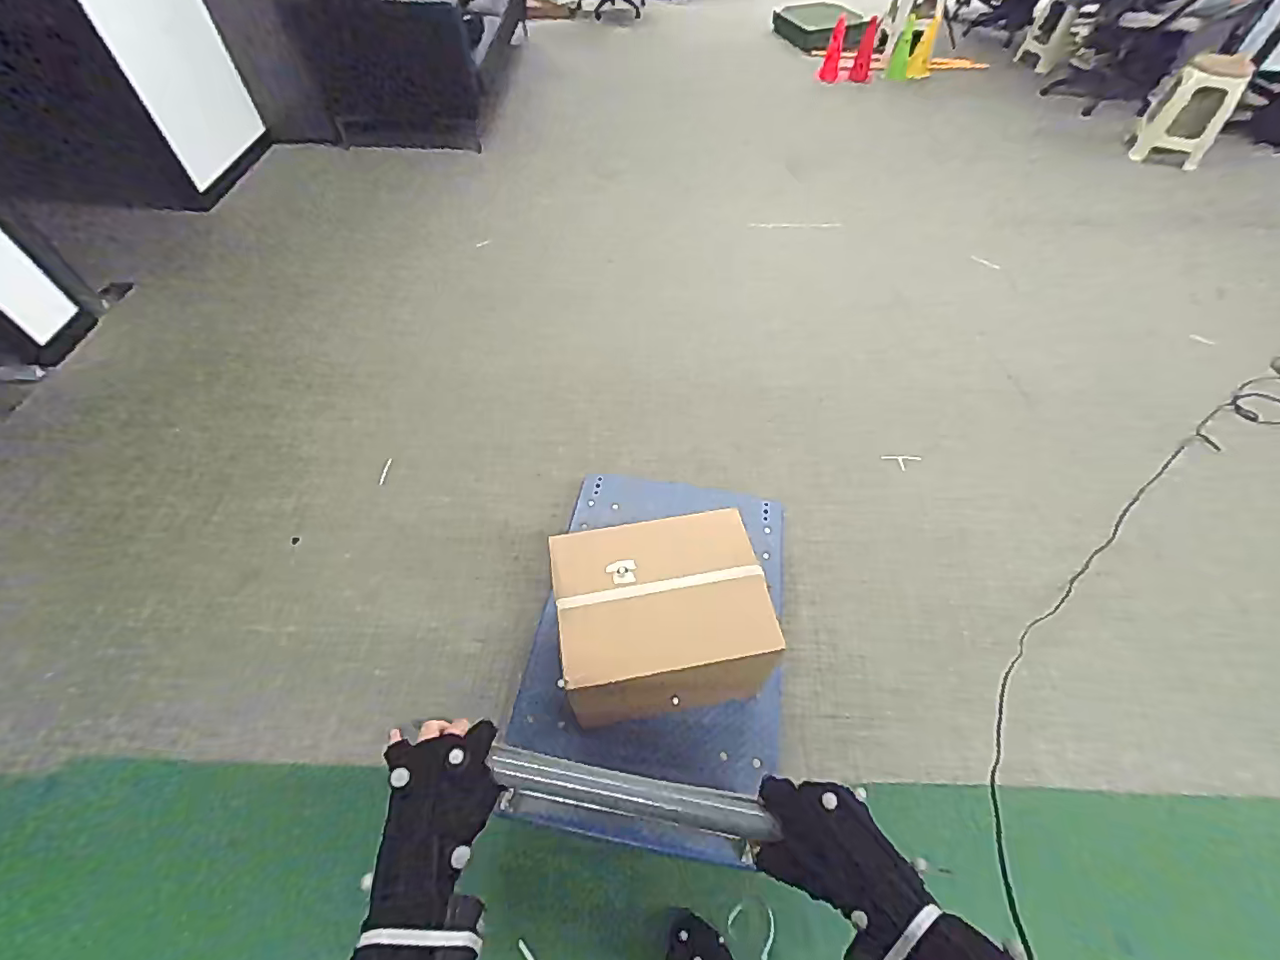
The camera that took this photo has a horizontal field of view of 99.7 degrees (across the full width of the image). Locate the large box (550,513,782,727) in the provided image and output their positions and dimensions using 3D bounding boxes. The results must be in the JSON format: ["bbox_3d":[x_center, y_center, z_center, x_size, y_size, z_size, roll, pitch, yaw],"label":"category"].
[{"bbox_3d":[0.039,0.306,1.160,0.408,0.320,0.320,-8,54,-5],"label":"large box"}]
